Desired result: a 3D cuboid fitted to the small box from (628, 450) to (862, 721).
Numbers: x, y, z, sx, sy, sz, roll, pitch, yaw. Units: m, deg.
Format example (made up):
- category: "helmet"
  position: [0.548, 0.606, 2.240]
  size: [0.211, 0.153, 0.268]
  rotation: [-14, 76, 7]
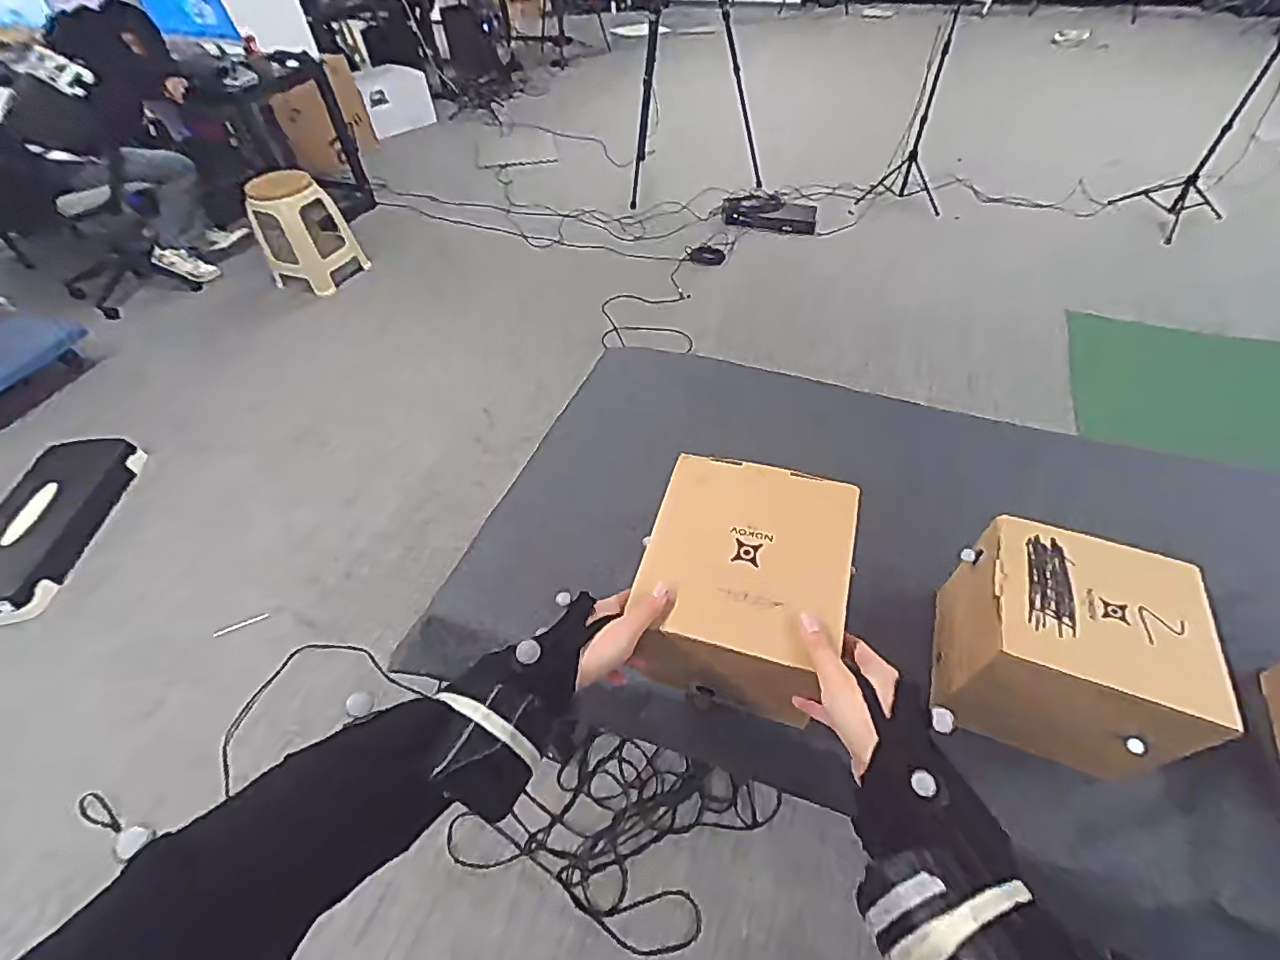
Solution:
- category: "small box"
  position: [0.098, 0.101, 0.510]
  size: [0.168, 0.176, 0.179]
  rotation: [11, 57, 15]
